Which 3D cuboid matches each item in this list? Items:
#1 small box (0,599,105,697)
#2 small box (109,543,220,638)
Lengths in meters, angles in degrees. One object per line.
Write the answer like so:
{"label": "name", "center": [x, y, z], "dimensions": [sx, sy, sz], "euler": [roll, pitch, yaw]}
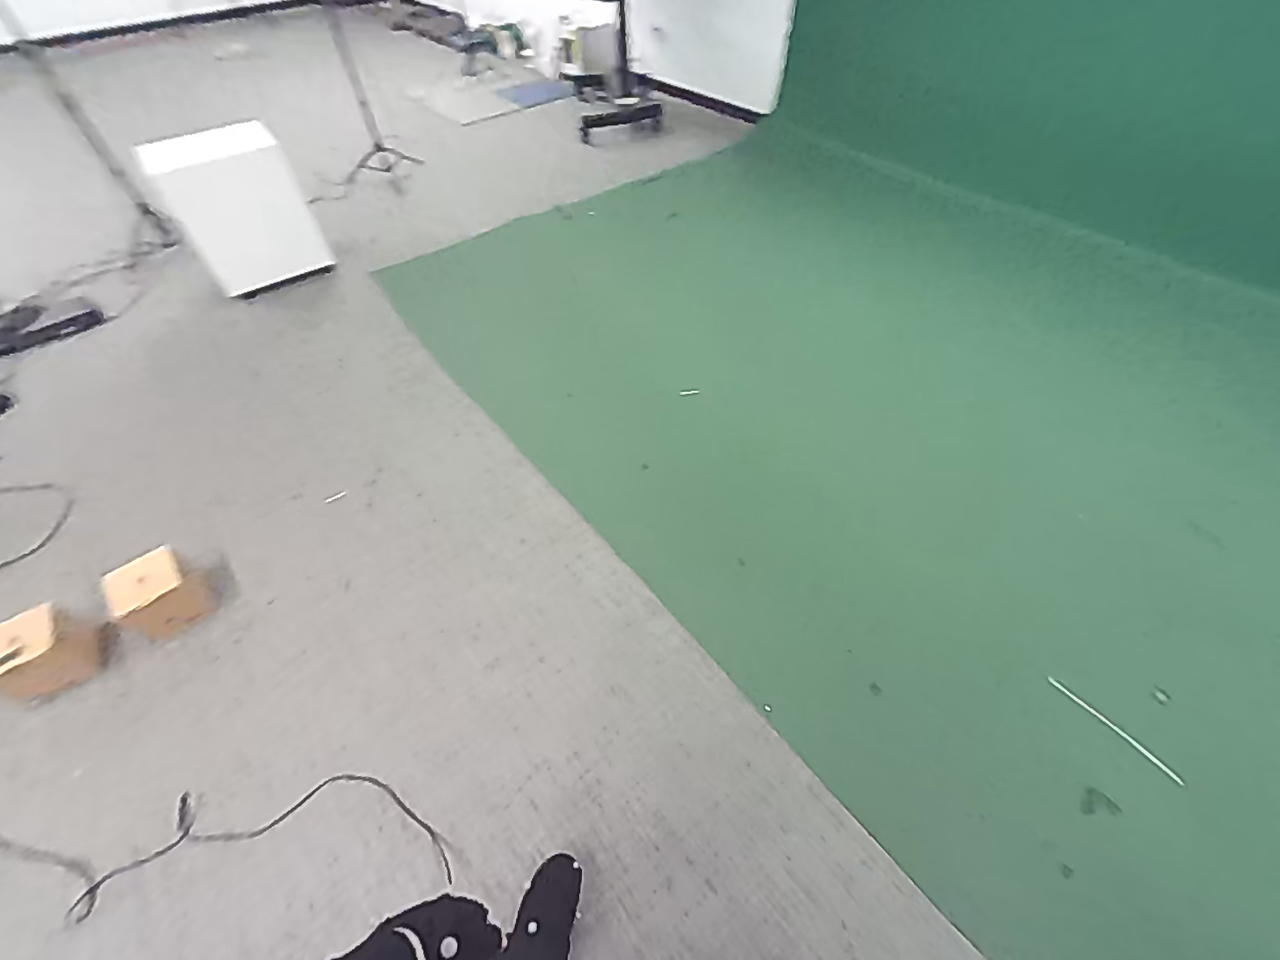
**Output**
{"label": "small box", "center": [-1.610, 0.463, 1.467], "dimensions": [0.168, 0.176, 0.179], "euler": [-30, 56, -21]}
{"label": "small box", "center": [-1.379, 0.325, 1.576], "dimensions": [0.168, 0.176, 0.179], "euler": [-35, 59, -24]}
